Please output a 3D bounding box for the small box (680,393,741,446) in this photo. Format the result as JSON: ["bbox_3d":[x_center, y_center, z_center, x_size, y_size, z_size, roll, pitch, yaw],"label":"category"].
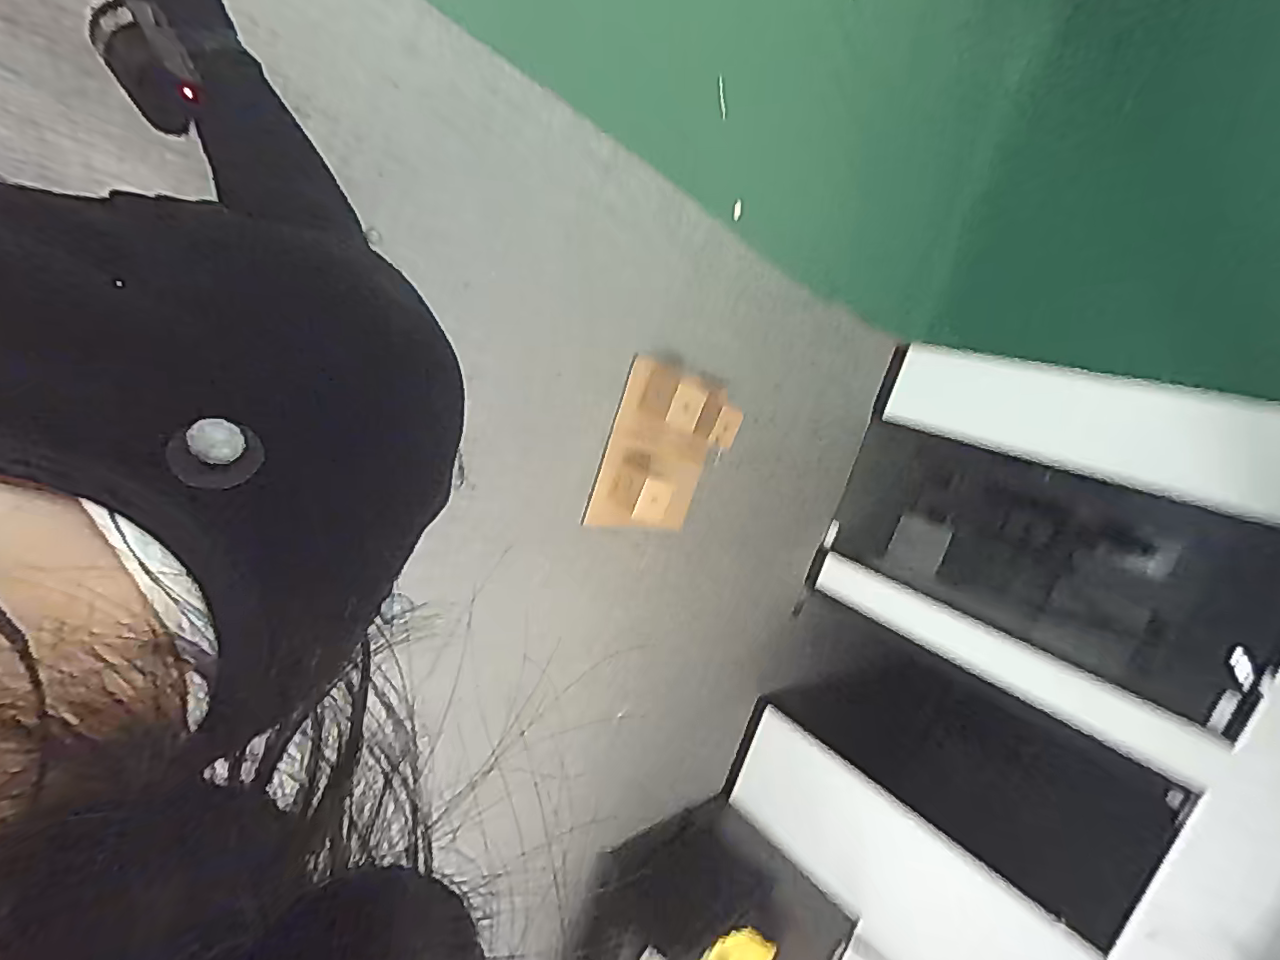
[{"bbox_3d":[0.294,-0.265,2.293,0.168,0.176,0.179,17,98,-48],"label":"small box"}]

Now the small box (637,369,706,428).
[{"bbox_3d":[0.116,-0.317,2.087,0.179,0.176,0.168,15,100,-48],"label":"small box"}]

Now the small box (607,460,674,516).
[{"bbox_3d":[-0.003,0.029,2.148,0.179,0.176,0.168,13,101,-48],"label":"small box"}]
